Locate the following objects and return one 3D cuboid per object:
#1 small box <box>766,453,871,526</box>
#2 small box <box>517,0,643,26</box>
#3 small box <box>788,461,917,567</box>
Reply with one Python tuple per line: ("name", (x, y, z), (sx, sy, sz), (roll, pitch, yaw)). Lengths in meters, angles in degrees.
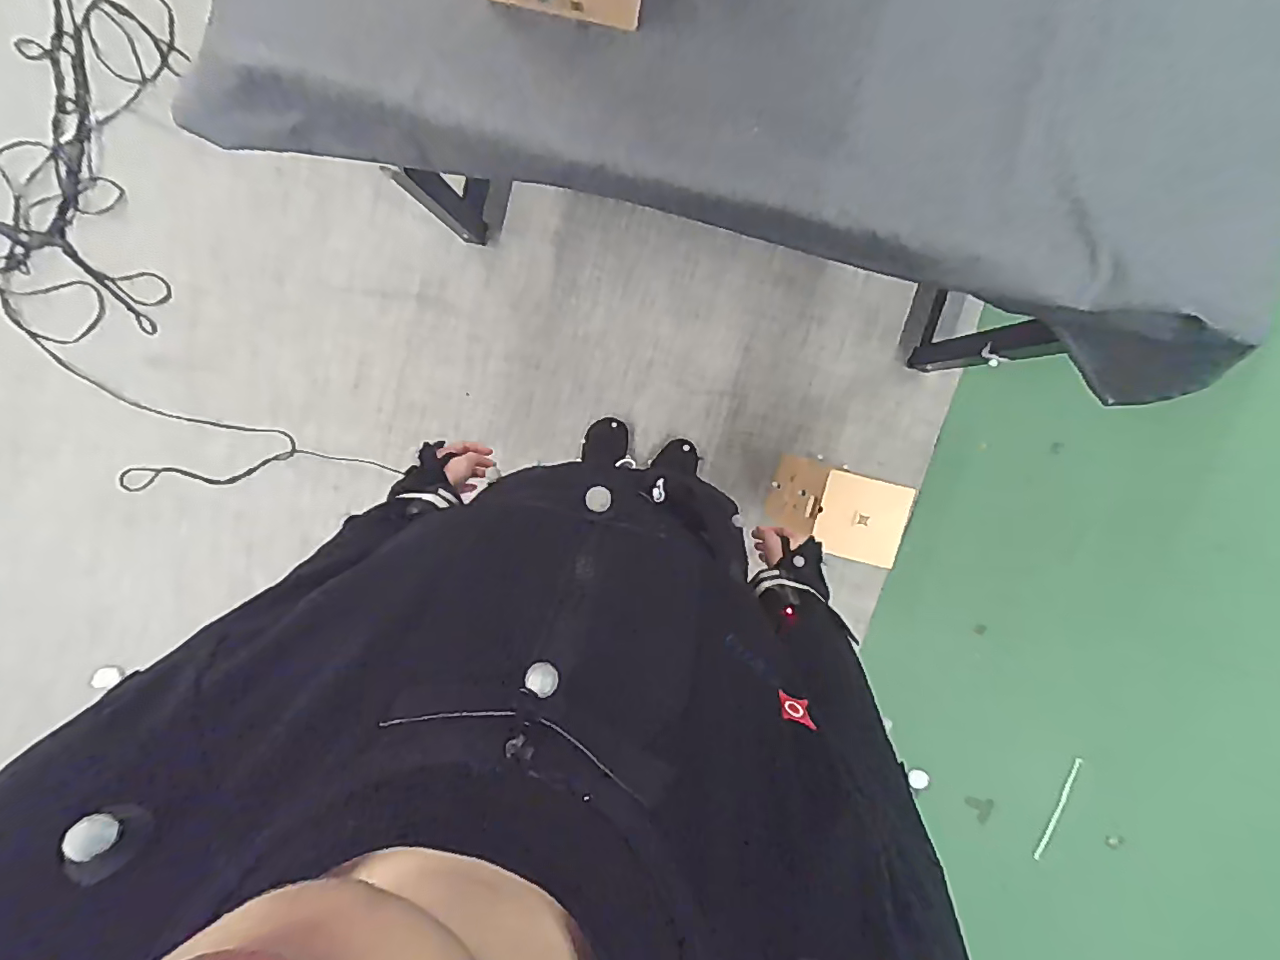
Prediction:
("small box", (0.416, 0.034, 1.286), (0.179, 0.176, 0.168), (15, 96, -1))
("small box", (-0.065, -0.569, 0.481), (0.168, 0.176, 0.179), (12, 98, 0))
("small box", (0.430, 0.062, 1.124), (0.179, 0.176, 0.168), (13, 98, -1))
